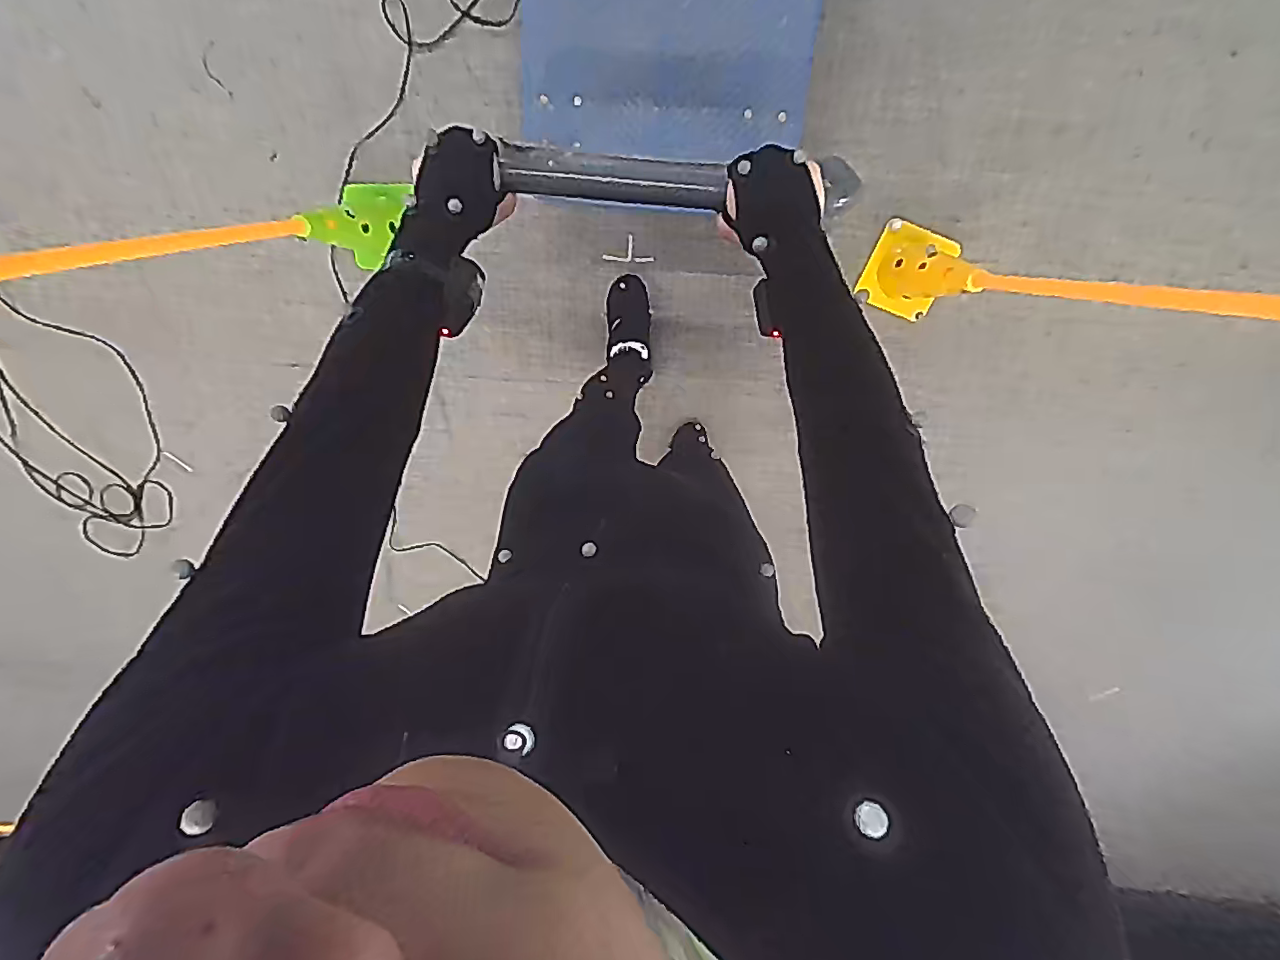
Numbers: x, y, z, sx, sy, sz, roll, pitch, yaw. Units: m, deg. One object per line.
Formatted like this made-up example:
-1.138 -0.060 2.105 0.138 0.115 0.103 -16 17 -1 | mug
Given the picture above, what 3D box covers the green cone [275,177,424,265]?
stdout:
-0.672 -0.583 1.214 0.202 0.368 0.200 1 114 5 | green cone
